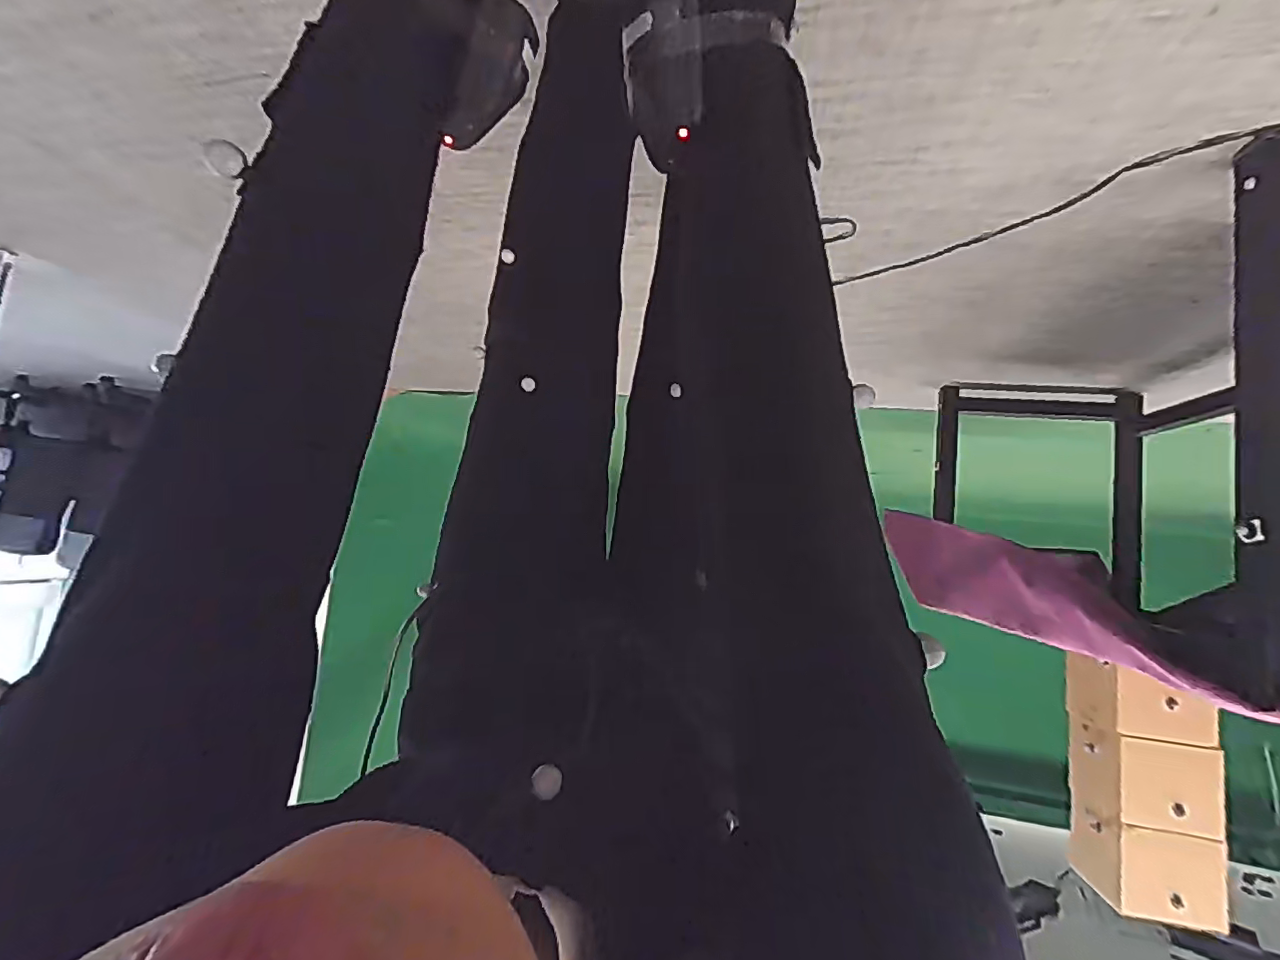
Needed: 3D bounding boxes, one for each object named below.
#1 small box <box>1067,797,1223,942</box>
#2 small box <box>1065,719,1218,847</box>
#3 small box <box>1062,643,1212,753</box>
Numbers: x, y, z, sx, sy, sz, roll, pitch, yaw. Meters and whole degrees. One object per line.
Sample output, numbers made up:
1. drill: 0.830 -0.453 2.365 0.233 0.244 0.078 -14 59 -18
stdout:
1. small box: 1.008 0.770 1.092 0.179 0.176 0.168 5 172 10
2. small box: 1.021 0.608 1.112 0.179 0.176 0.168 5 173 10
3. small box: 1.030 0.445 1.135 0.179 0.176 0.168 4 173 10
